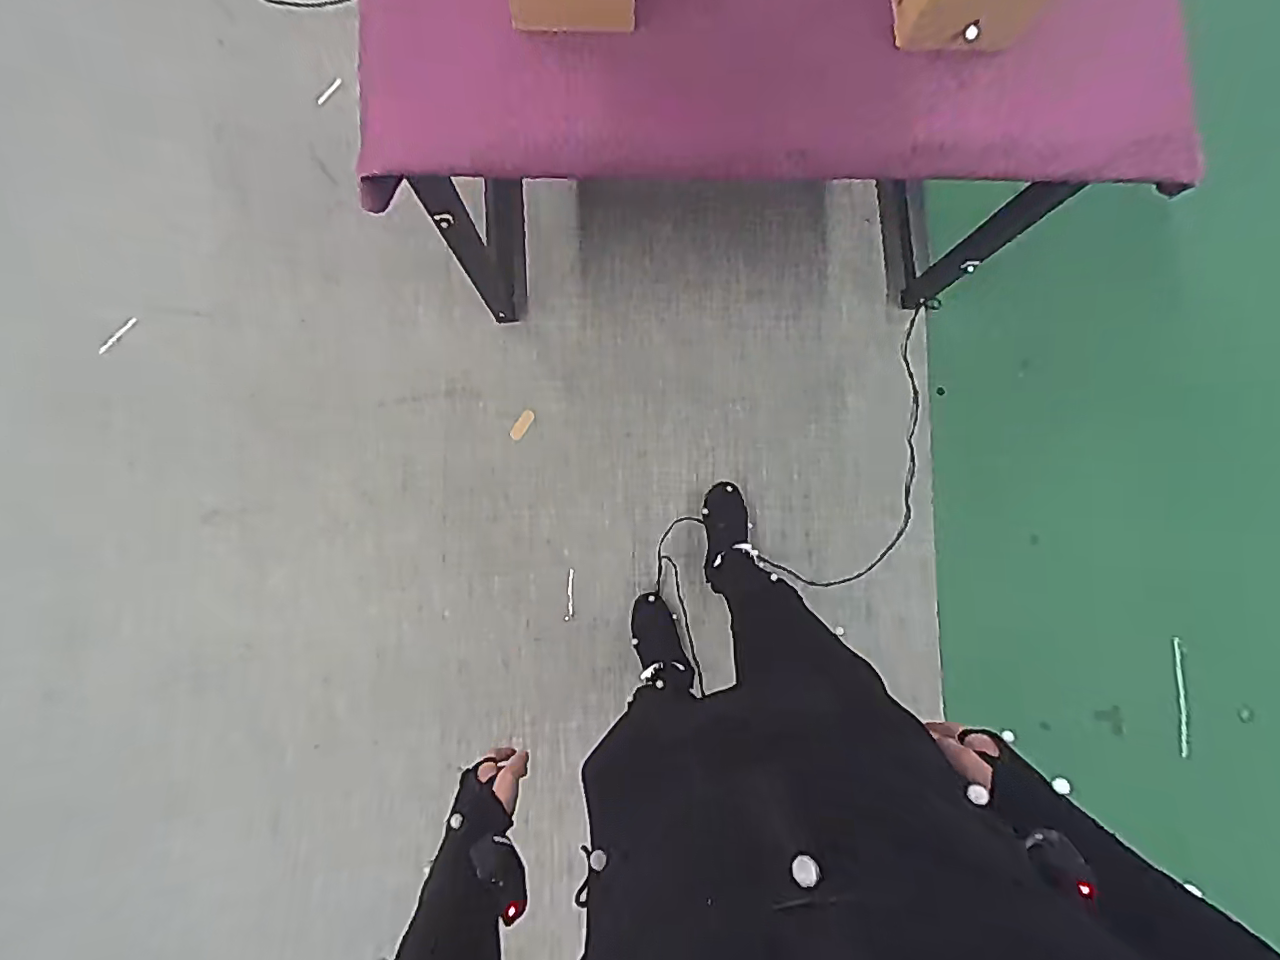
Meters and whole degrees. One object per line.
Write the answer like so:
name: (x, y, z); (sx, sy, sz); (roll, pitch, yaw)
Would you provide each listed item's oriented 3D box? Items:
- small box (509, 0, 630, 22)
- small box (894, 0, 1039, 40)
small box: (-0.094, -0.741, 0.699); (0.179, 0.176, 0.168); (-1, 86, -2)
small box: (0.461, -0.727, 0.715); (0.179, 0.176, 0.168); (-3, 86, -2)
